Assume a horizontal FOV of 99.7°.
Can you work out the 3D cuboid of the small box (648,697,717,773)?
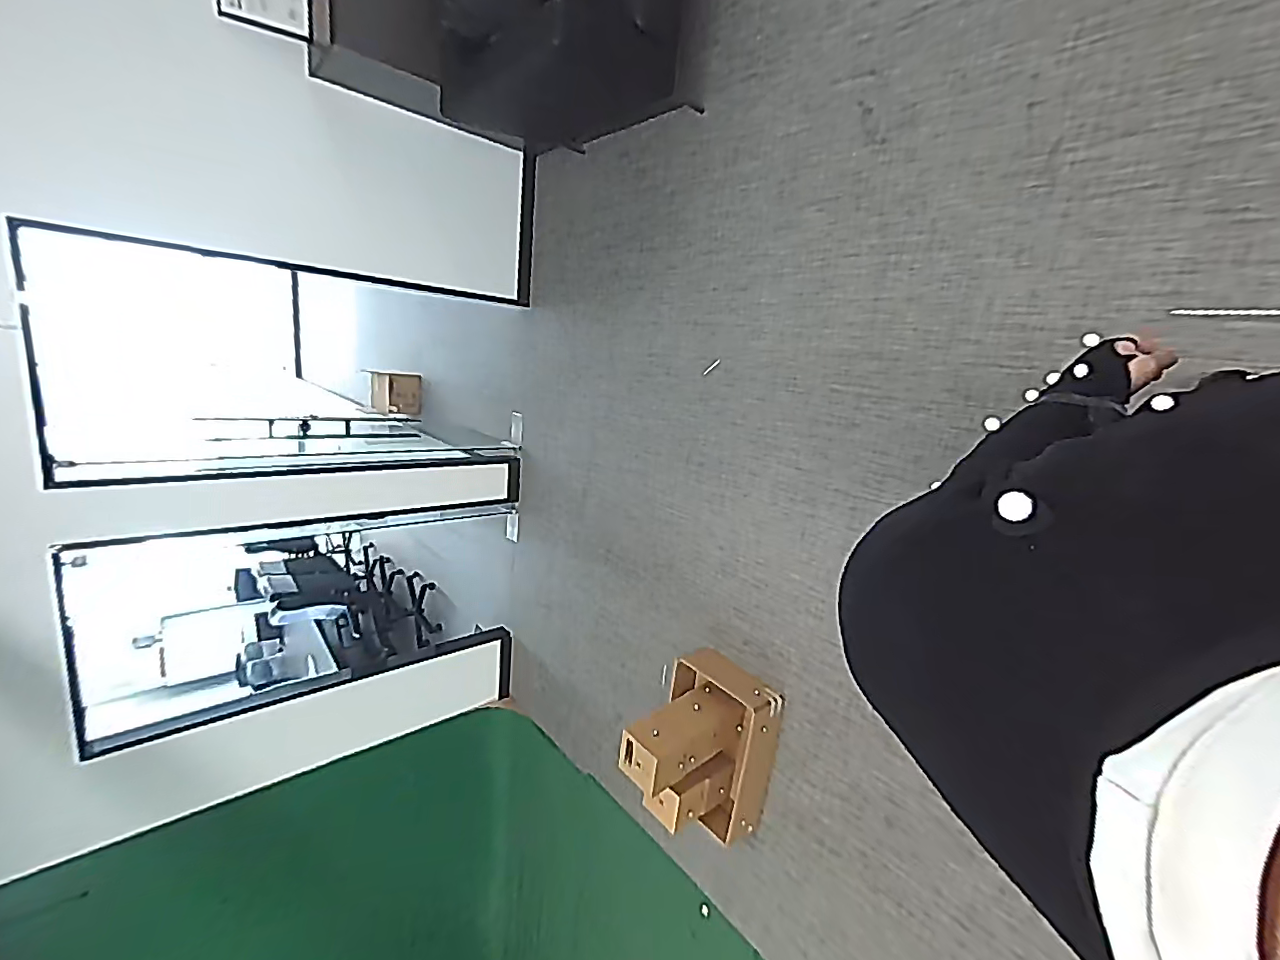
[{"bbox_3d":[0.156,0.931,1.997,0.179,0.176,0.168,21,111,46],"label":"small box"}]

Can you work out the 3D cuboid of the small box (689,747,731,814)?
[{"bbox_3d":[0.240,1.180,2.168,0.179,0.176,0.168,21,108,45],"label":"small box"}]

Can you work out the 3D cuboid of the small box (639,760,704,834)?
[{"bbox_3d":[0.121,1.185,2.058,0.179,0.176,0.168,19,108,46],"label":"small box"}]
